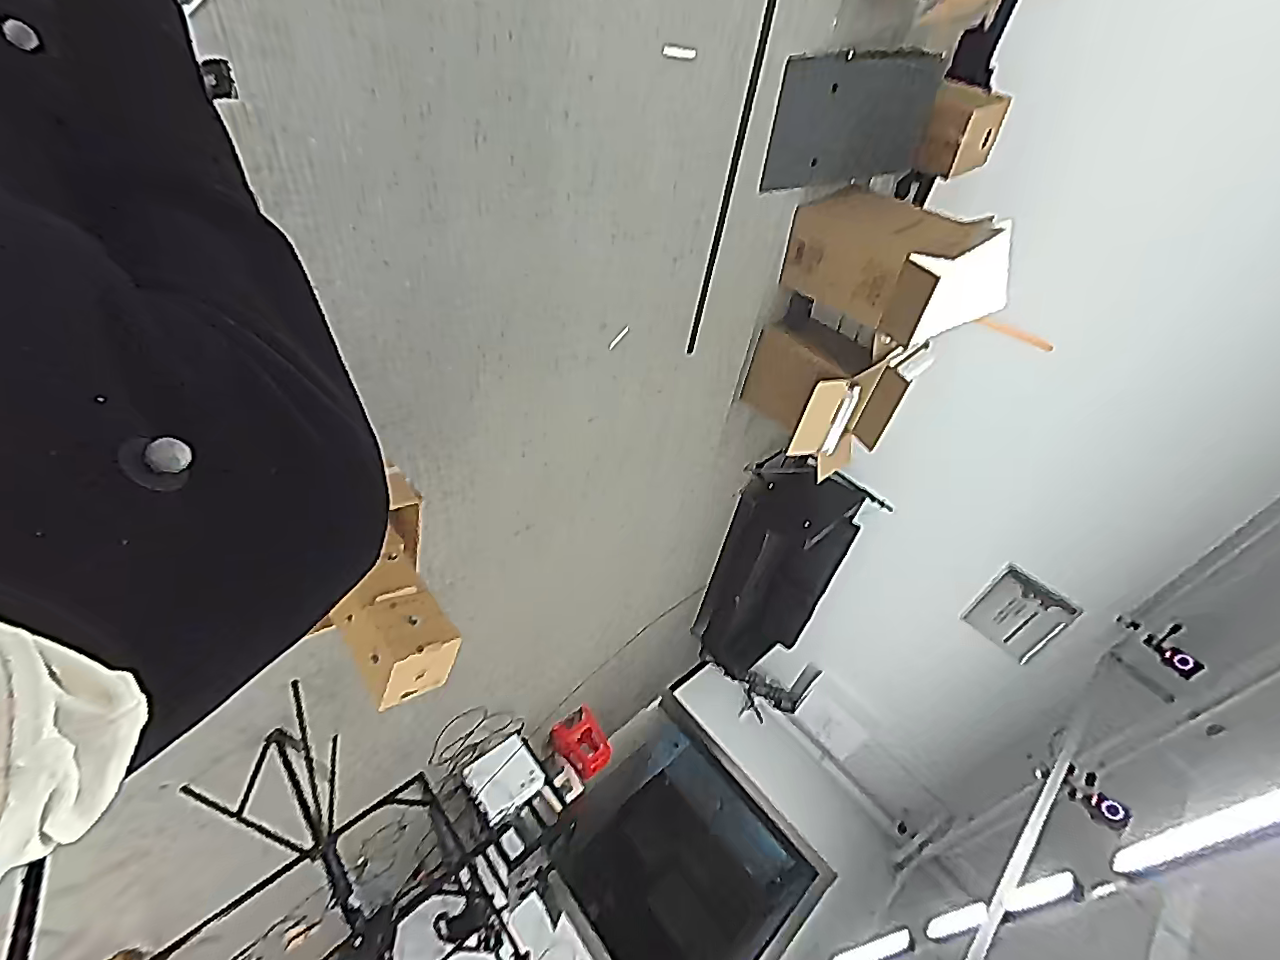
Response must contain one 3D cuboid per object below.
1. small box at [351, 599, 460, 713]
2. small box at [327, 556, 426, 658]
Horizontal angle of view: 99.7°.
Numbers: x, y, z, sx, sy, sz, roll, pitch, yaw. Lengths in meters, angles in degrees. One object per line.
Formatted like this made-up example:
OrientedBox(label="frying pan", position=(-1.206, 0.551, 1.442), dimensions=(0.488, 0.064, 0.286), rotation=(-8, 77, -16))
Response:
OrientedBox(label="small box", position=(-0.558, 0.401, 1.275), dimensions=(0.168, 0.176, 0.179), rotation=(-7, 130, -50))
OrientedBox(label="small box", position=(-0.666, 0.309, 1.359), dimensions=(0.168, 0.176, 0.179), rotation=(-11, 135, -47))
